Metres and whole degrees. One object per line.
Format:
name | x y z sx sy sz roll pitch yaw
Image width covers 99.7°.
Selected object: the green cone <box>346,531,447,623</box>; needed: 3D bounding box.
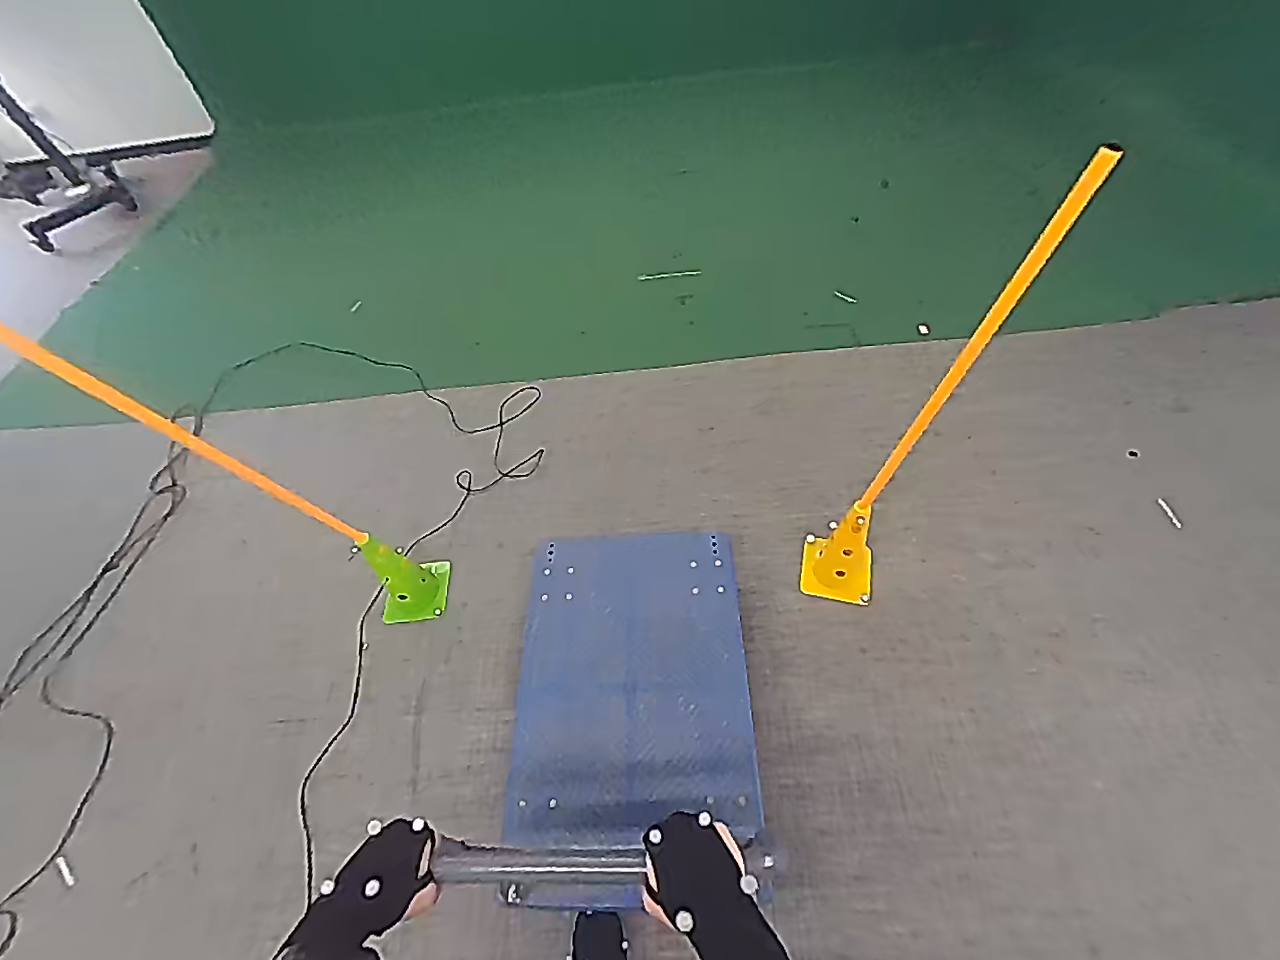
green cone | -0.749 0.255 1.606 0.202 0.368 0.200 -9 53 3
